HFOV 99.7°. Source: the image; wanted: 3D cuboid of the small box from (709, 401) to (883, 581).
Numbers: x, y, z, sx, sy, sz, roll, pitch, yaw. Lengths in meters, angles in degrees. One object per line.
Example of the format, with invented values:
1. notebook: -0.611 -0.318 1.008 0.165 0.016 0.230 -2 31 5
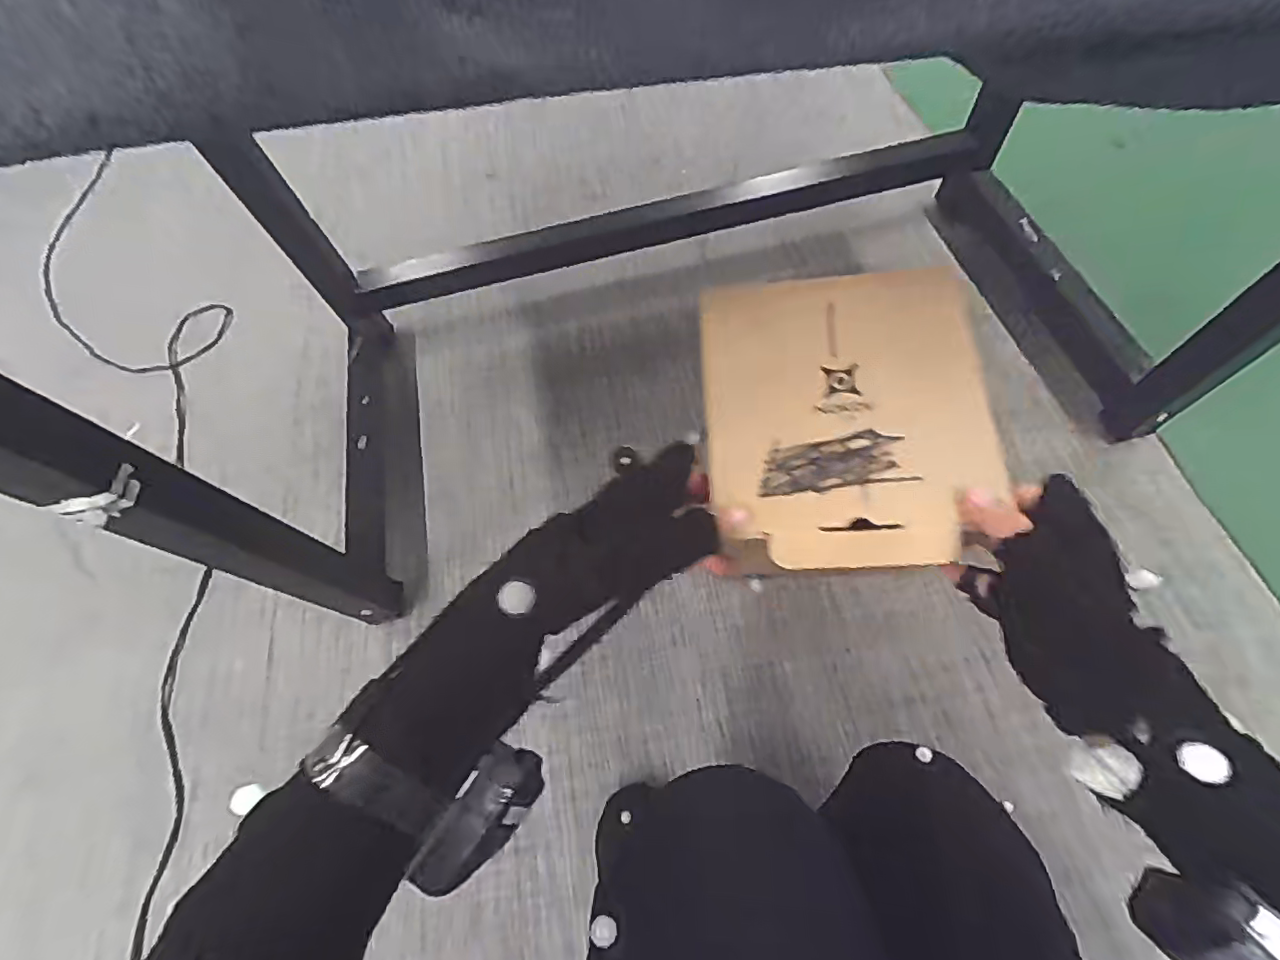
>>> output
1. small box: 0.195 0.026 0.734 0.168 0.176 0.179 -14 62 -1
